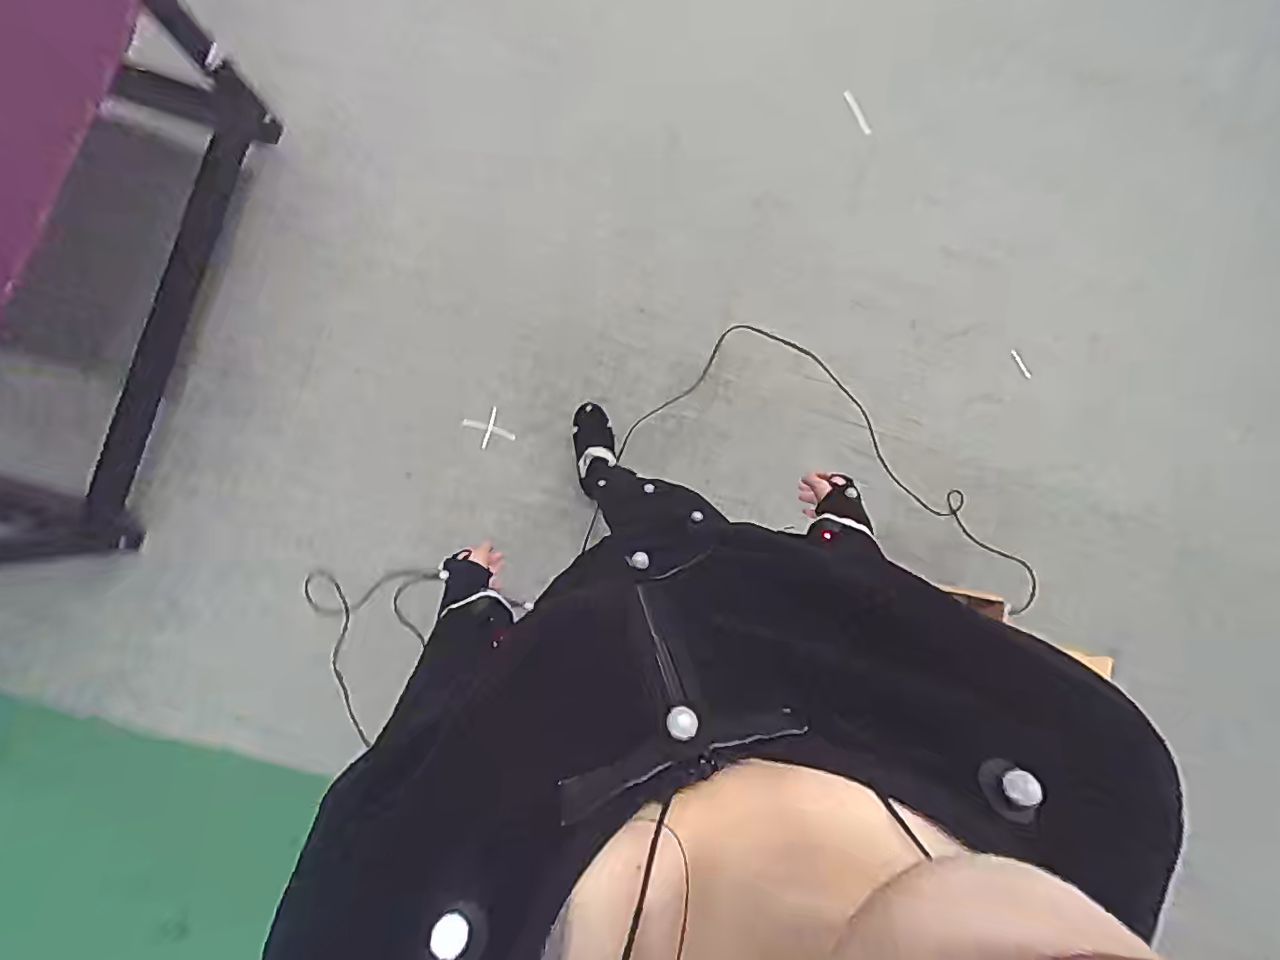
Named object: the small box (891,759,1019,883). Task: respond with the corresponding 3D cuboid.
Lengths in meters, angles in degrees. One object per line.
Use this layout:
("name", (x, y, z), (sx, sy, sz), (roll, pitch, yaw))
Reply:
("small box", (0.707, 0.765, 1.232), (0.179, 0.176, 0.168), (14, 88, -4))

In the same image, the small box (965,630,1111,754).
("small box", (0.789, 0.417, 1.091), (0.168, 0.176, 0.179), (9, 87, -2))
